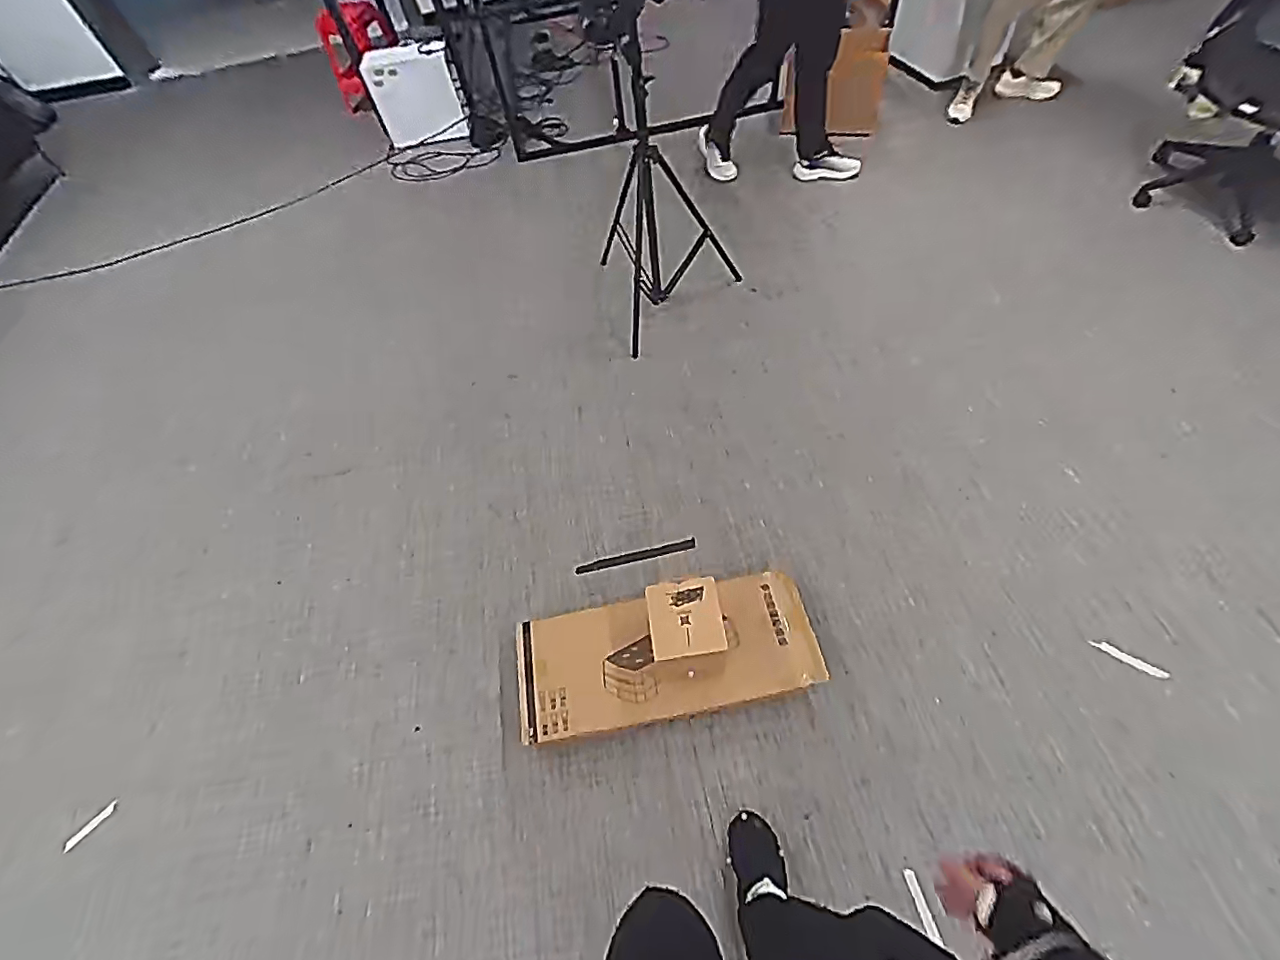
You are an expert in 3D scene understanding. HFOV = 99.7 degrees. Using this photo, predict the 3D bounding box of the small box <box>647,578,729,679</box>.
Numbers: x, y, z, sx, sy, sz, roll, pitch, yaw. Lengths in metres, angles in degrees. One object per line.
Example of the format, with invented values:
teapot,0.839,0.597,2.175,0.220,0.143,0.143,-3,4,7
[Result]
small box,0.112,0.356,1.287,0.168,0.176,0.179,-9,57,2
